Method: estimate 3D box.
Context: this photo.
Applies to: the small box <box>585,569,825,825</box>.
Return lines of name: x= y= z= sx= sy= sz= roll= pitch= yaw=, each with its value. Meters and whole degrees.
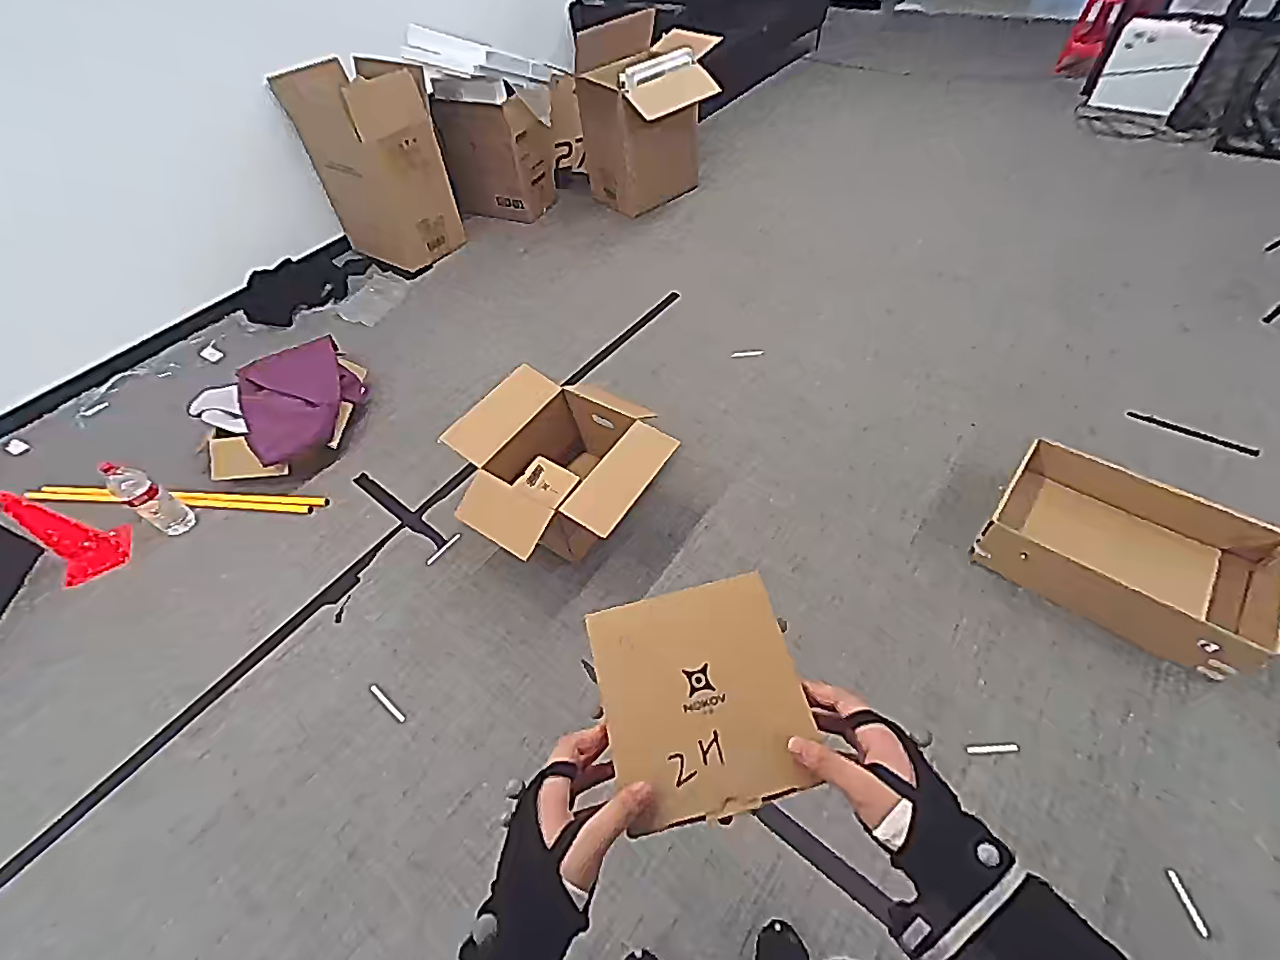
small box: x=0.049 y=0.209 z=0.523 sx=0.168 sy=0.176 sz=0.179 roll=-13 pitch=62 yaw=-4
